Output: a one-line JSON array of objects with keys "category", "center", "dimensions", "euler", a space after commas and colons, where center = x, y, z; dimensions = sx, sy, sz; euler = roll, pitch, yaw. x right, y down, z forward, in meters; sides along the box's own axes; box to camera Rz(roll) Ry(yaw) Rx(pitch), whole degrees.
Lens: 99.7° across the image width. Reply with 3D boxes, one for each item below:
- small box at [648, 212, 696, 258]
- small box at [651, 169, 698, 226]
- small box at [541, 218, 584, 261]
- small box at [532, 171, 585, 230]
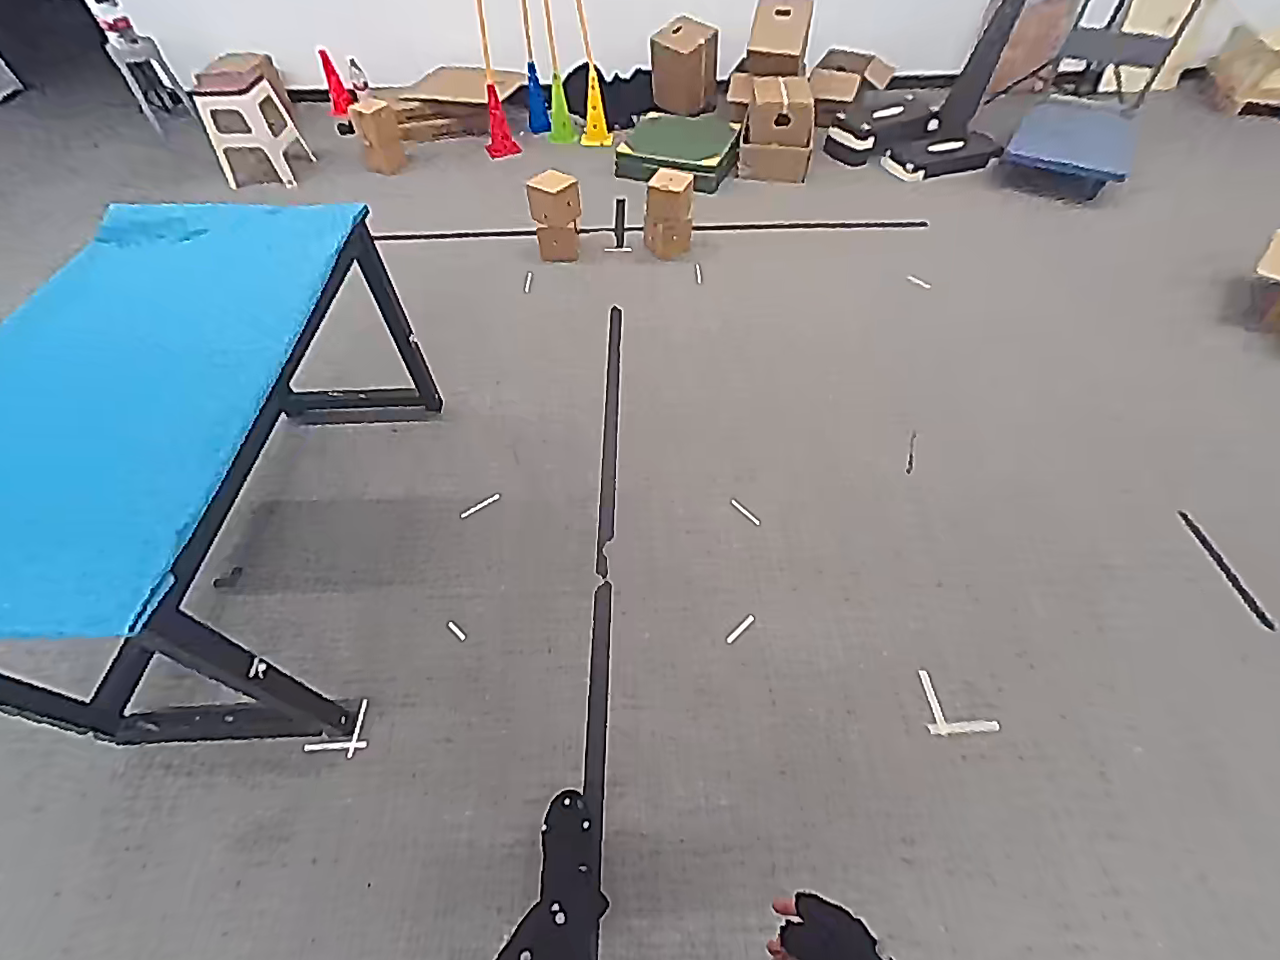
[{"category": "small box", "center": [0.155, -1.210, 2.634], "dimensions": [0.179, 0.176, 0.168], "euler": [-28, 57, -19]}, {"category": "small box", "center": [0.158, -1.299, 2.494], "dimensions": [0.168, 0.176, 0.179], "euler": [19, 55, 13]}, {"category": "small box", "center": [-0.369, -1.183, 2.623], "dimensions": [0.179, 0.176, 0.168], "euler": [0, 52, 3]}, {"category": "small box", "center": [-0.375, -1.294, 2.497], "dimensions": [0.179, 0.176, 0.168], "euler": [28, 57, 19]}]
